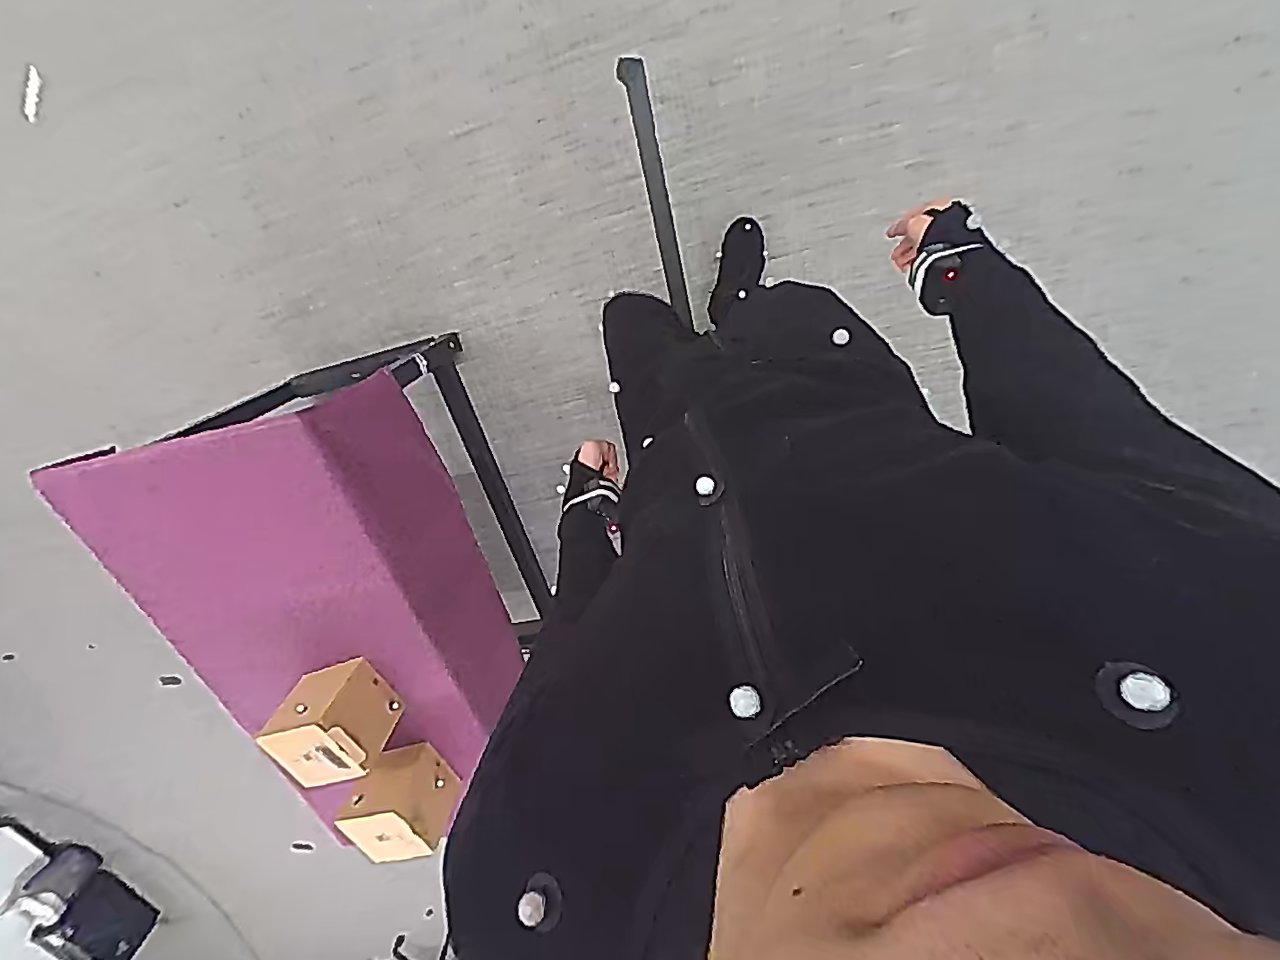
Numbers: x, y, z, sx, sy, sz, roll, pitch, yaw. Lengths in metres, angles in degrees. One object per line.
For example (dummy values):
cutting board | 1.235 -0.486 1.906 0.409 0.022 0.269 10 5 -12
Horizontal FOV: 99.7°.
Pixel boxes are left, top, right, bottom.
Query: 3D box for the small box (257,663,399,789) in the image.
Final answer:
small box | -0.652 0.522 1.162 0.179 0.176 0.168 -20 114 16

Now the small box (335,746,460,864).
small box | -0.561 0.764 1.278 0.179 0.176 0.168 -19 114 14
